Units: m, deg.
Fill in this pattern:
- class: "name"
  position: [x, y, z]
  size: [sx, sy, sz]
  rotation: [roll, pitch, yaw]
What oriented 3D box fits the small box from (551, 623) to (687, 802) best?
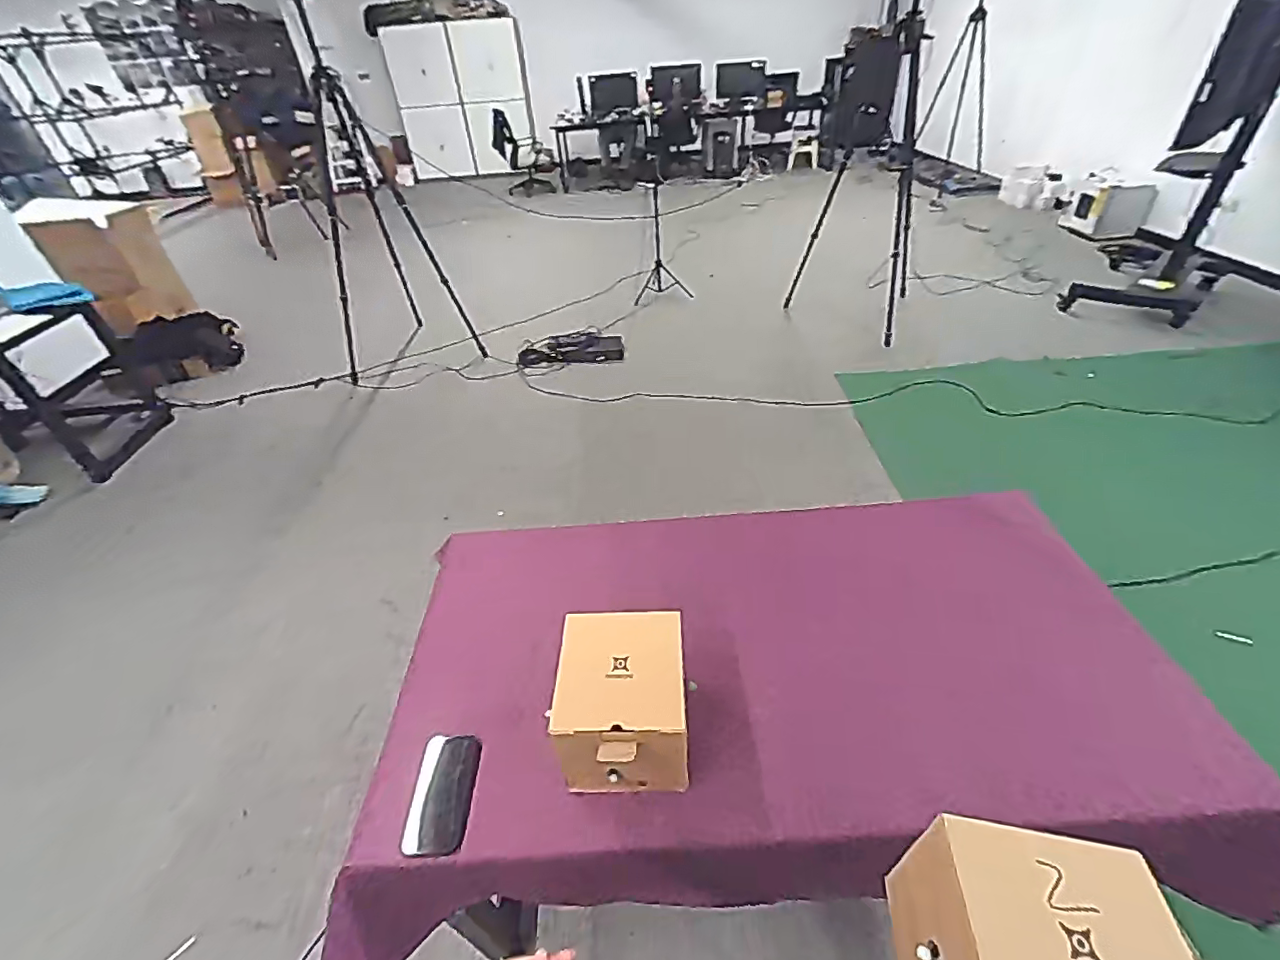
- class: "small box"
  position: [-0.020, 0.322, 0.759]
  size: [0.168, 0.176, 0.179]
  rotation: [-2, 38, 4]
